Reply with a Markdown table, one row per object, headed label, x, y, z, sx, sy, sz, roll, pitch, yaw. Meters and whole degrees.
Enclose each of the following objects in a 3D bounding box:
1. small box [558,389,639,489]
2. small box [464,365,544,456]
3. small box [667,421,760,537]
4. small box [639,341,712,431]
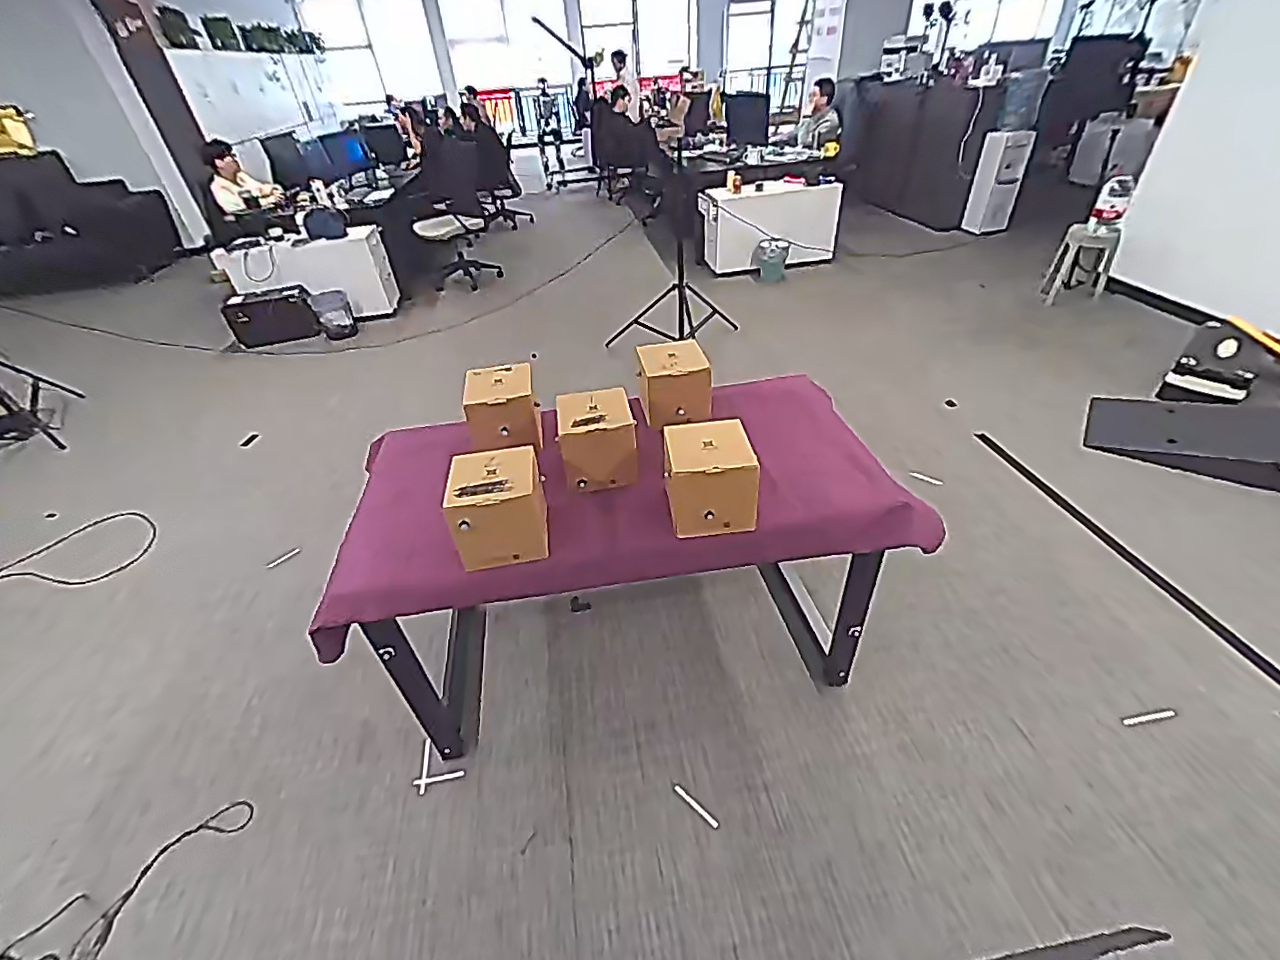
| label | x | y | z | sx | sy | sz | roll | pitch | yaw |
| --- | --- | --- | --- | --- | --- | --- | --- | --- | --- |
| small box | -0.098 | -0.092 | 1.276 | 0.168 | 0.176 | 0.179 | -8 | 38 | -5 |
| small box | -0.347 | -0.175 | 1.406 | 0.168 | 0.176 | 0.179 | -9 | 41 | -6 |
| small box | 0.146 | -0.003 | 1.135 | 0.168 | 0.176 | 0.179 | -6 | 37 | -1 |
| small box | 0.092 | -0.253 | 1.455 | 0.168 | 0.176 | 0.179 | -10 | 40 | -4 |
